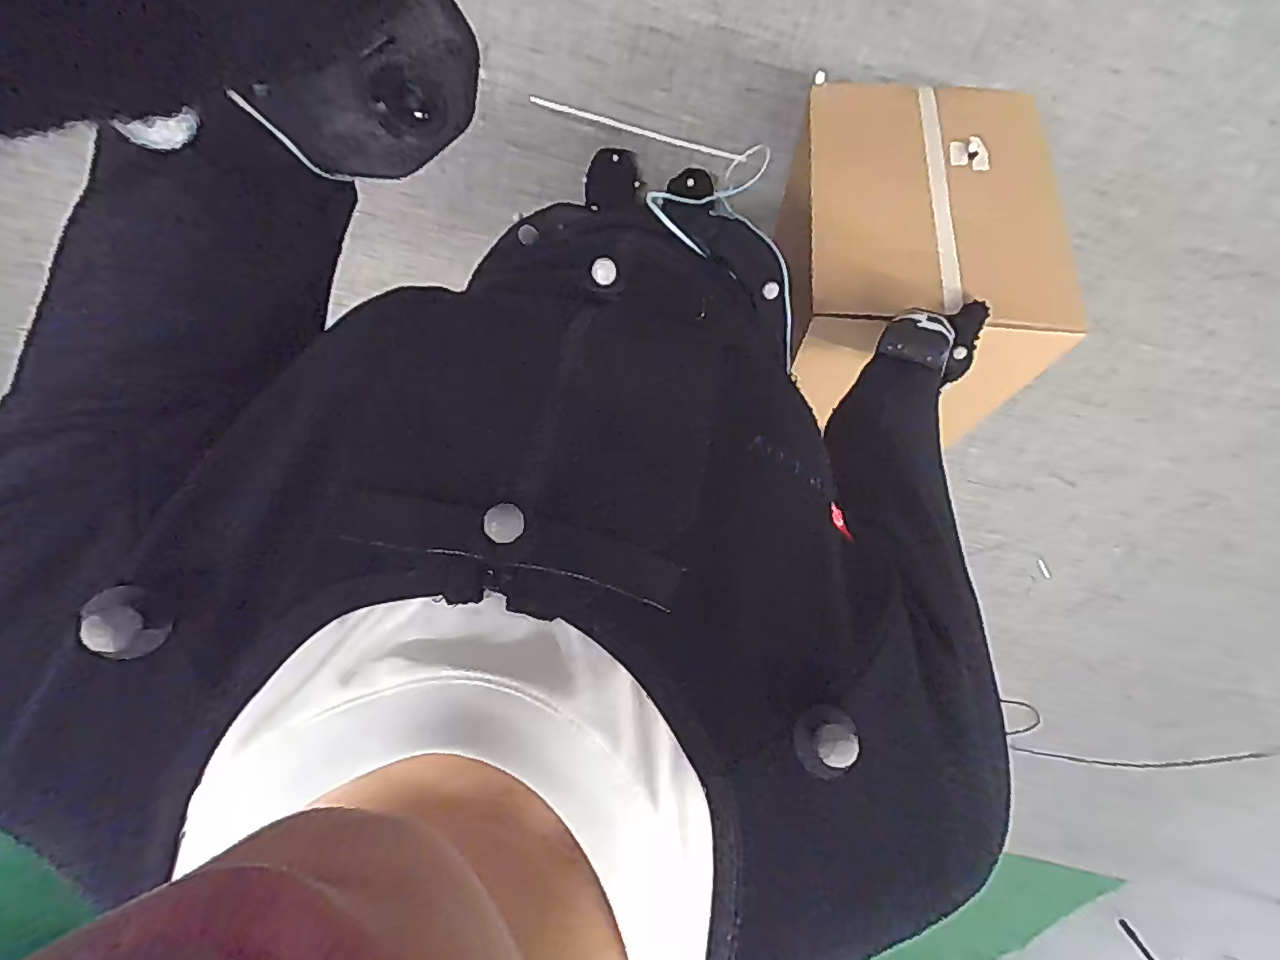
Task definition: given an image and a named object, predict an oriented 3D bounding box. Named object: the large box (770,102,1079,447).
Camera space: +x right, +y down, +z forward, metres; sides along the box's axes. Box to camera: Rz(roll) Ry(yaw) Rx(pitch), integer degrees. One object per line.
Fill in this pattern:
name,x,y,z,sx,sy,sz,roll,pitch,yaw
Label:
large box,0.385,-0.299,0.848,0.320,0.408,0.320,6,159,3
